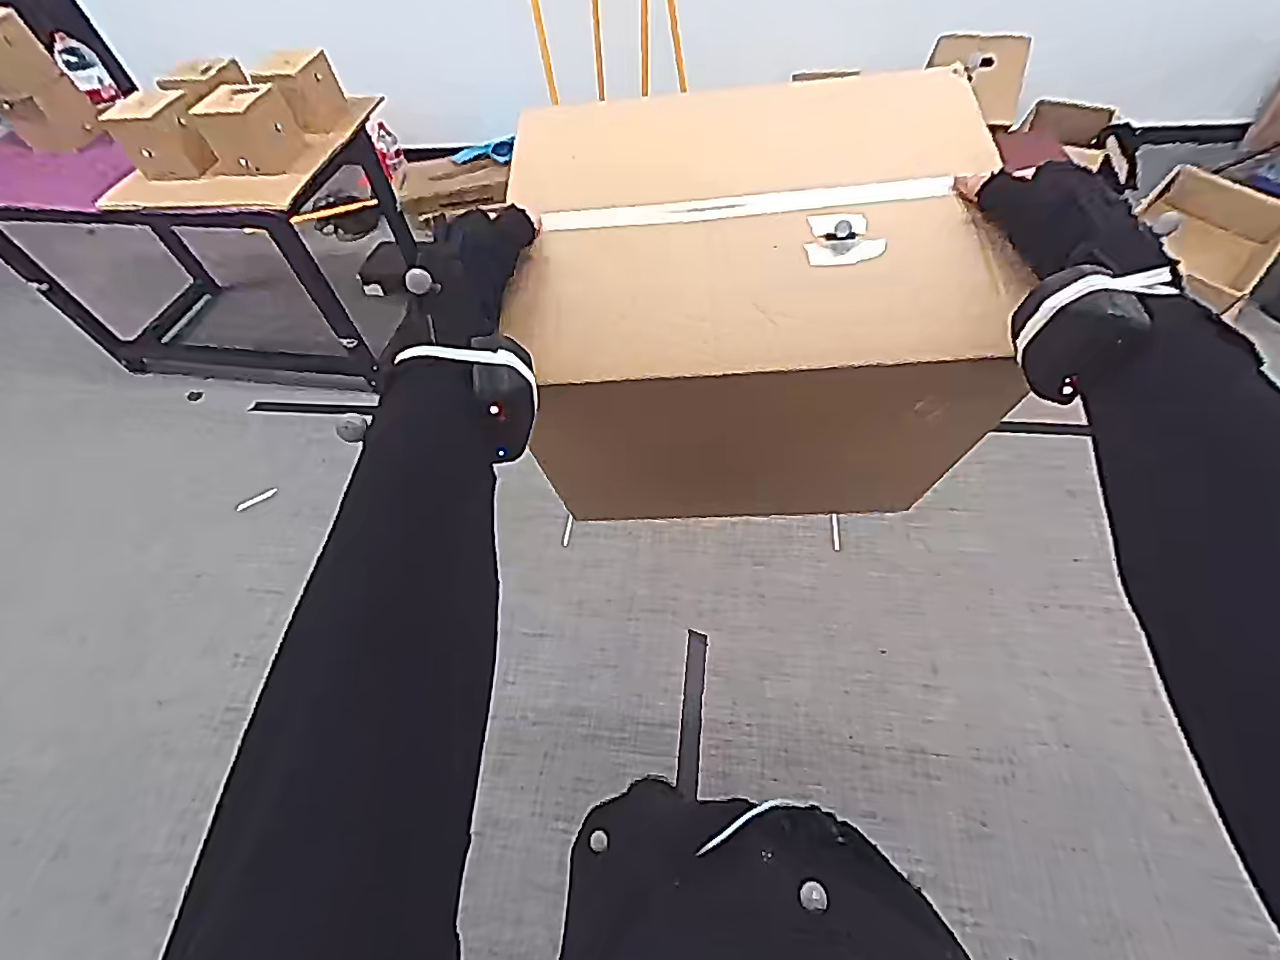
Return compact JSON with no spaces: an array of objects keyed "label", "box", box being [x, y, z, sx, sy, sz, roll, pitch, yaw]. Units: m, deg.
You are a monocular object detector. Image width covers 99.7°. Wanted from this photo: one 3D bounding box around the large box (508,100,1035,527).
[{"label":"large box","box":[0.100,-0.149,0.601,0.408,0.320,0.320,-3,67,4]}]
